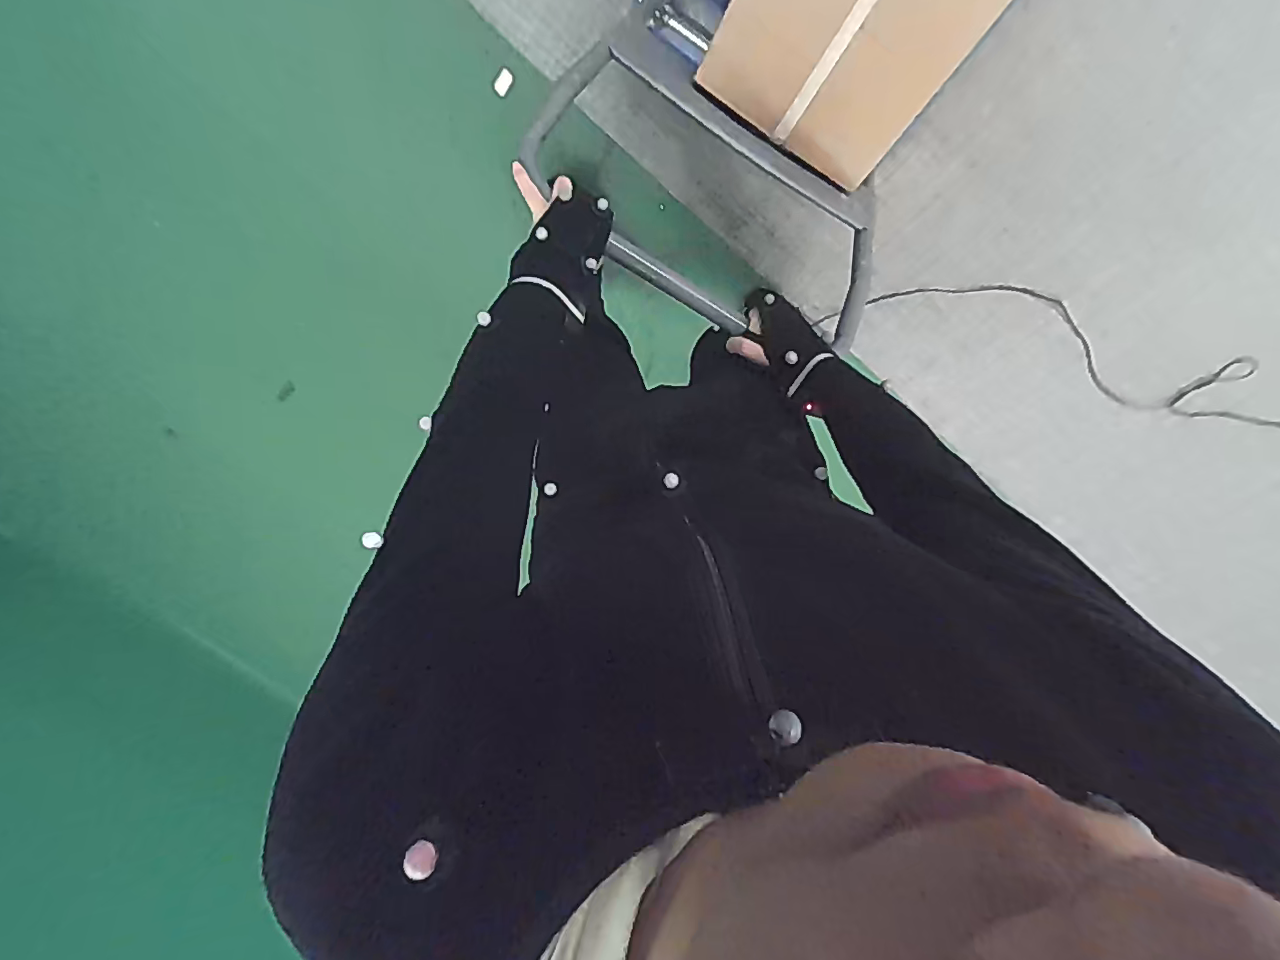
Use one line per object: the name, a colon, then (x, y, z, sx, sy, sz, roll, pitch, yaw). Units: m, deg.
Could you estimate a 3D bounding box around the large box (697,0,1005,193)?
large box: (0.340, -0.757, 0.830, 0.320, 0.320, 0.408, 29, 139, -12)
